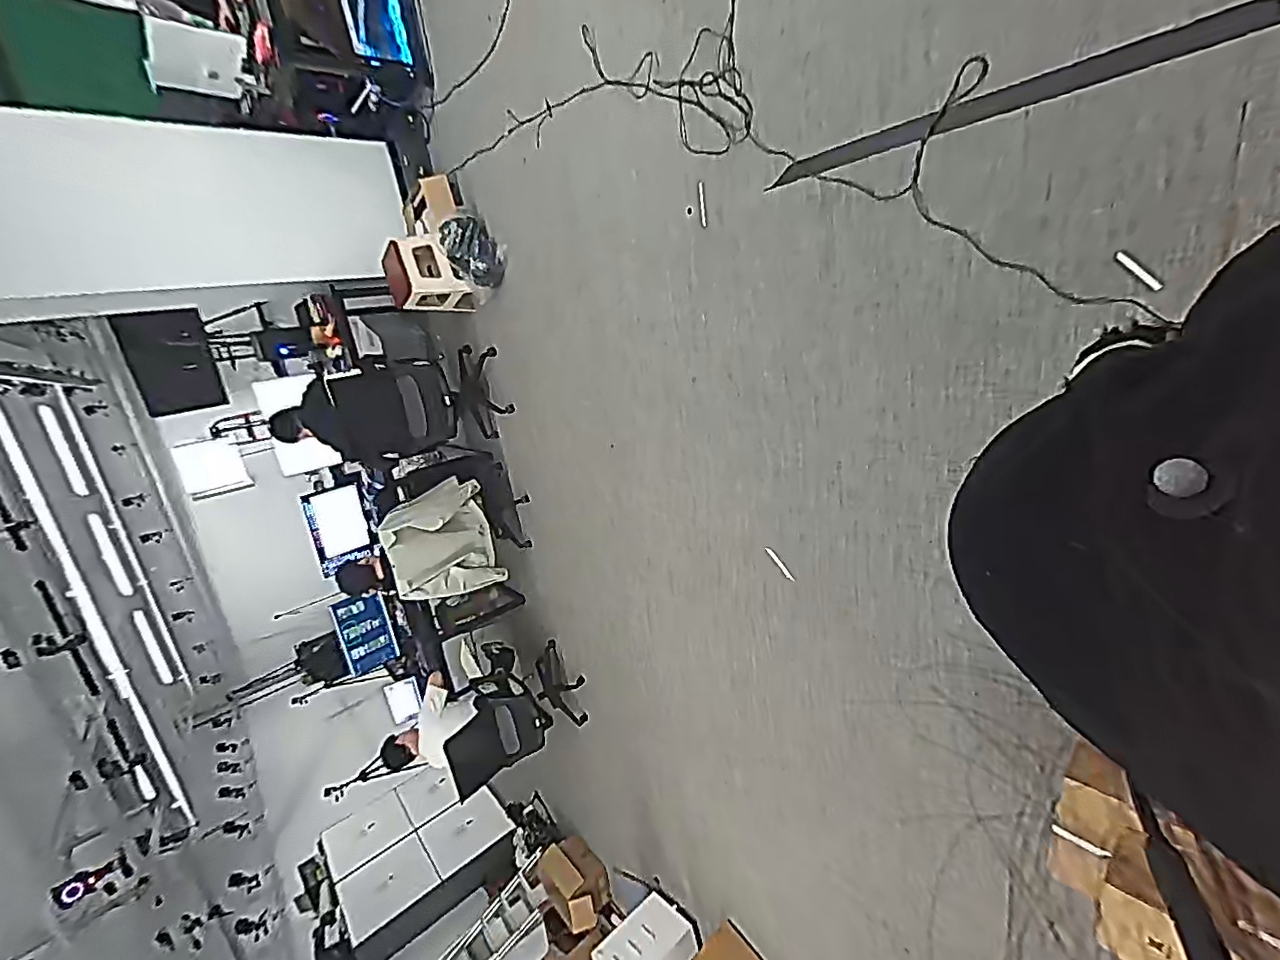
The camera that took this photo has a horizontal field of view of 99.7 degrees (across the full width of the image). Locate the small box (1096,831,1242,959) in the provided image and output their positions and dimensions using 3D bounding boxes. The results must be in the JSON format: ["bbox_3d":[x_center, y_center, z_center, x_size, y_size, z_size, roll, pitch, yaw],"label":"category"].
[{"bbox_3d":[1.018,0.832,1.042,0.179,0.176,0.168,10,113,51],"label":"small box"}]
